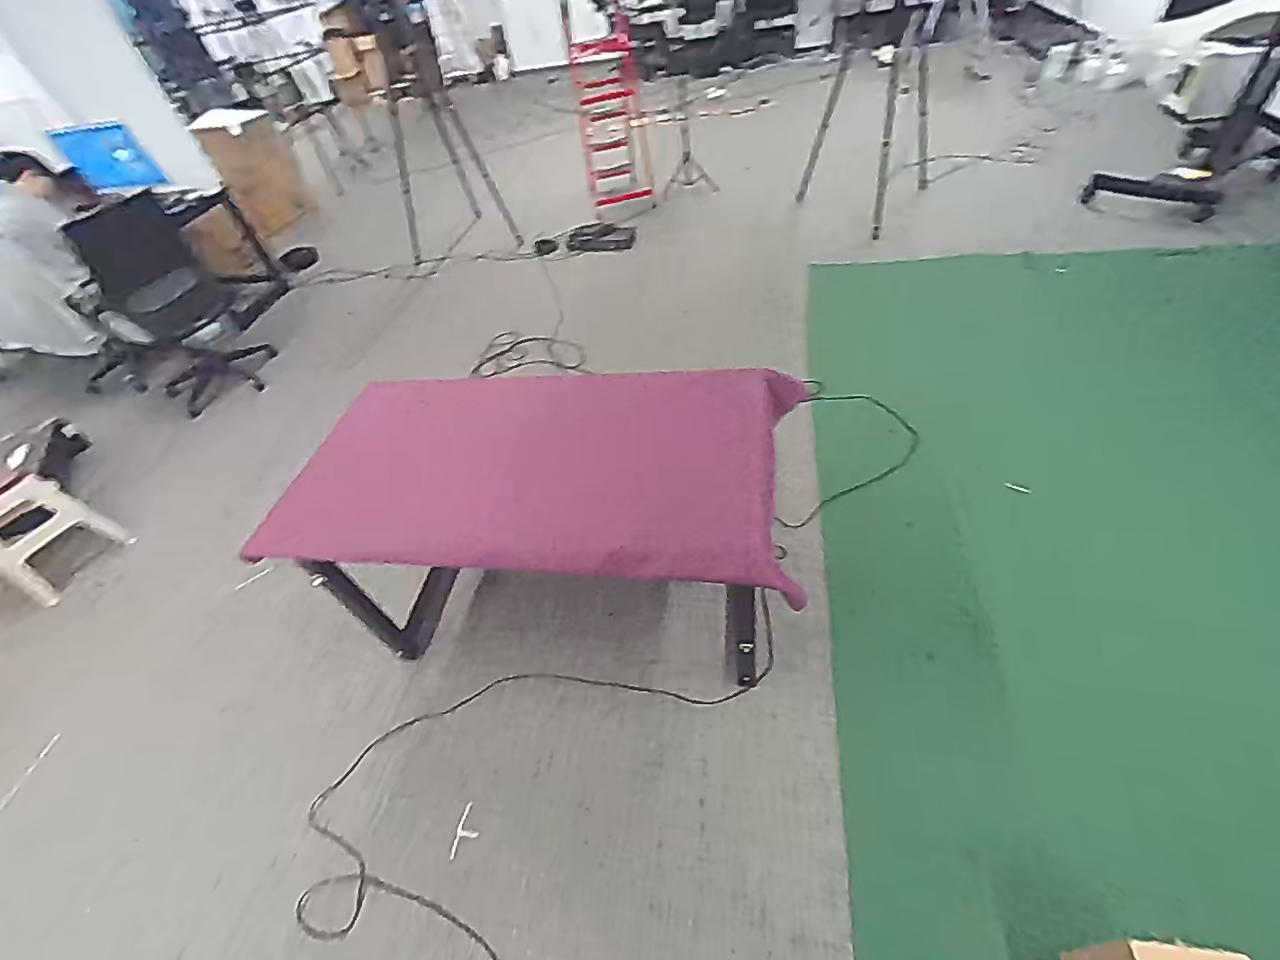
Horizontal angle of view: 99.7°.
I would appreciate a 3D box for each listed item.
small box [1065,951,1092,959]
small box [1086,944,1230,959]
[{"bbox_3d":[0.933,1.013,1.011,0.179,0.176,0.168,3,48,13],"label":"small box"},{"bbox_3d":[0.905,0.896,0.899,0.179,0.176,0.168,0,47,11],"label":"small box"}]
